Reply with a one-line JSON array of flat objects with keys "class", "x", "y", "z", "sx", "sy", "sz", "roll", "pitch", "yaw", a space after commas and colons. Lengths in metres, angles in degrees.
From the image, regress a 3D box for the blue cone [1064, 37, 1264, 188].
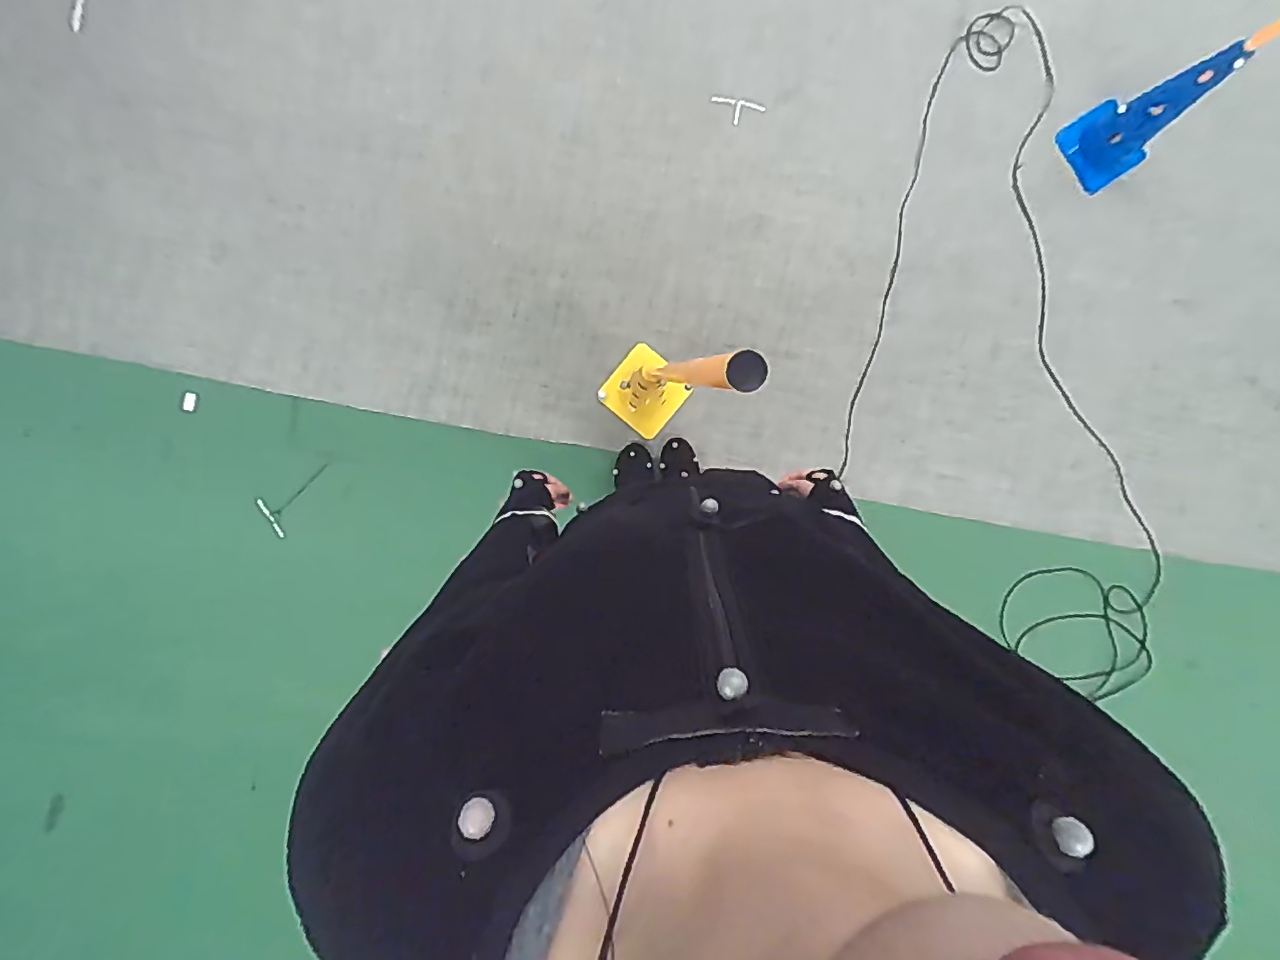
[{"class": "blue cone", "x": 1.283, "y": -0.924, "z": 1.322, "sx": 0.193, "sy": 0.380, "sz": 0.192, "roll": -35, "pitch": 92, "yaw": -3}]
